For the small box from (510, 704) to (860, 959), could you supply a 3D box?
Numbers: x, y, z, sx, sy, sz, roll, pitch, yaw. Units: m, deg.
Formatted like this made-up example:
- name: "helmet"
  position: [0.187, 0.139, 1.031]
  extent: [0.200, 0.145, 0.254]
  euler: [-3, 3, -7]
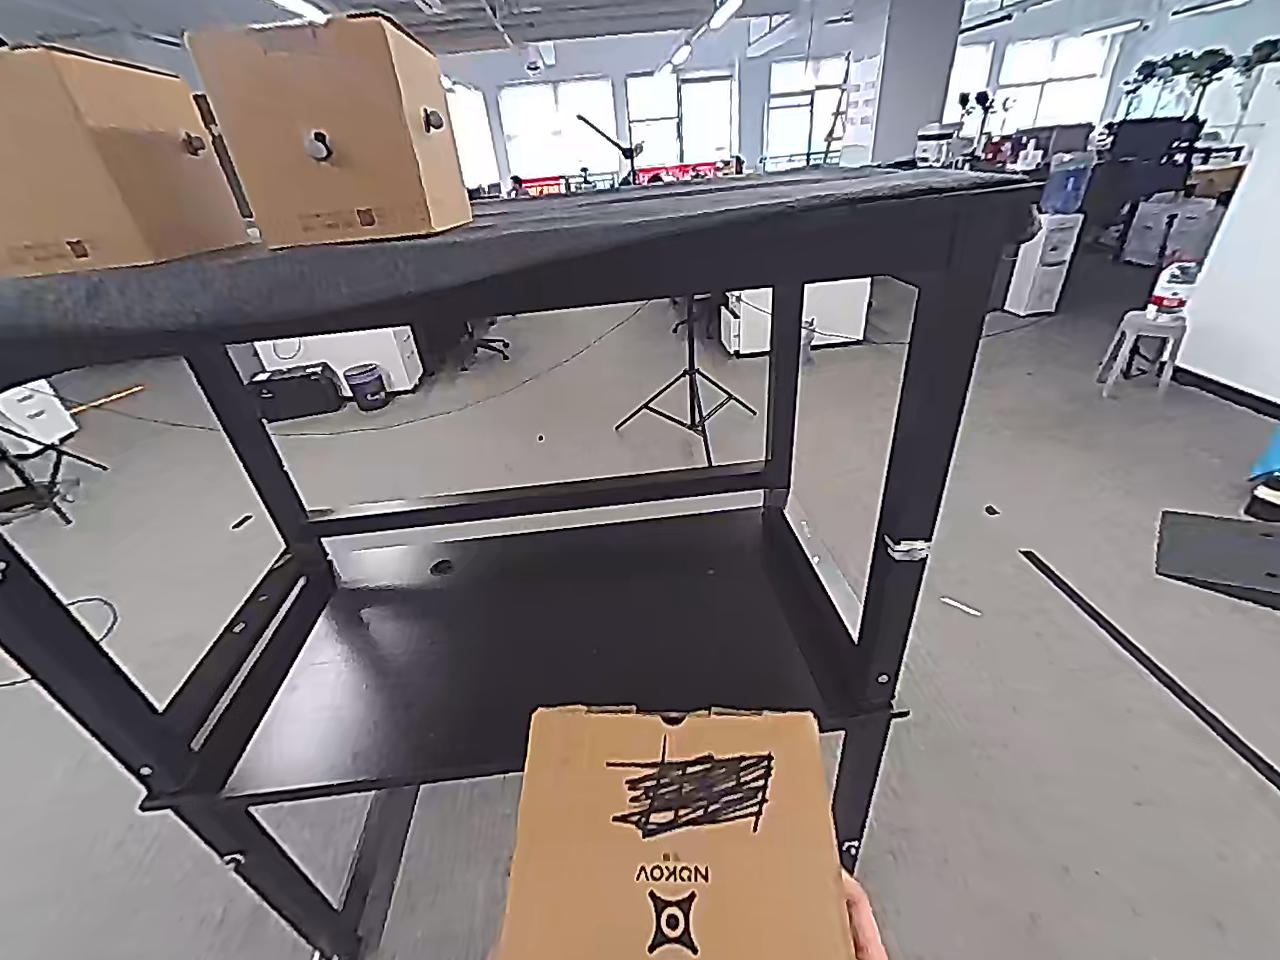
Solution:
- name: "small box"
  position: [0.023, 0.252, 0.329]
  extent: [0.168, 0.176, 0.179]
  euler: [-1, 52, 2]

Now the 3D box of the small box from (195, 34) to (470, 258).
- name: "small box"
  position: [-0.288, -0.331, 0.560]
  extent: [0.168, 0.176, 0.179]
  euler: [-6, 30, -1]
